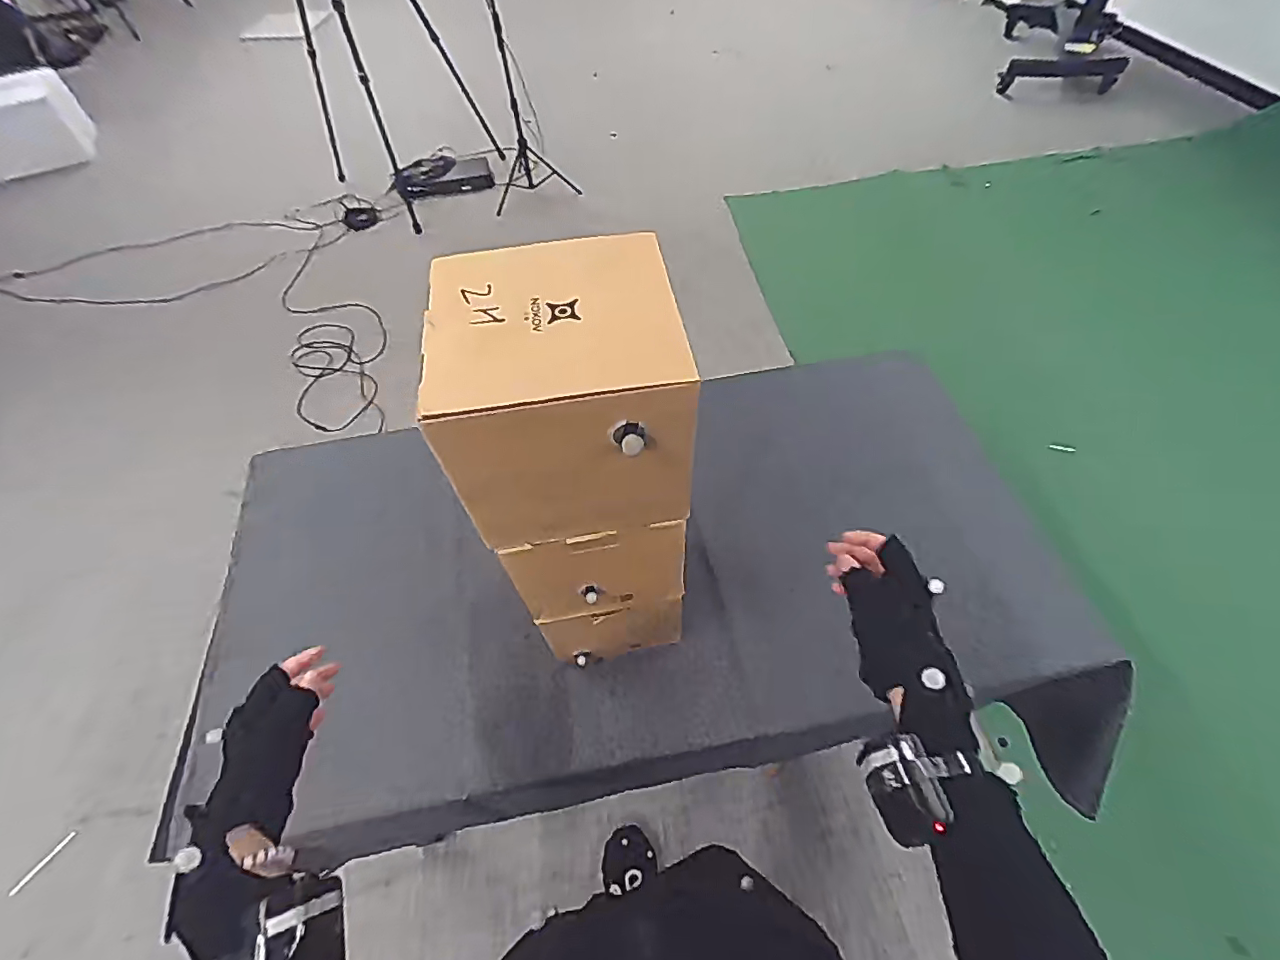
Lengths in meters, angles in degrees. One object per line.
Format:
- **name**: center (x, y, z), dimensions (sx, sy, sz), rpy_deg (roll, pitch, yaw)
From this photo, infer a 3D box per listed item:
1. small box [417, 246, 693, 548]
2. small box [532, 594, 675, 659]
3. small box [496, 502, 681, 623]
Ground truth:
- **small box**: center (-0.061, -0.062, 0.446), dimensions (0.179, 0.176, 0.168), rpy_deg (-9, 55, -3)
- **small box**: center (-0.049, 0.123, 0.715), dimensions (0.168, 0.176, 0.179), rpy_deg (-11, 54, -4)
- **small box**: center (-0.056, 0.031, 0.582), dimensions (0.168, 0.176, 0.179), rpy_deg (-10, 55, -4)
